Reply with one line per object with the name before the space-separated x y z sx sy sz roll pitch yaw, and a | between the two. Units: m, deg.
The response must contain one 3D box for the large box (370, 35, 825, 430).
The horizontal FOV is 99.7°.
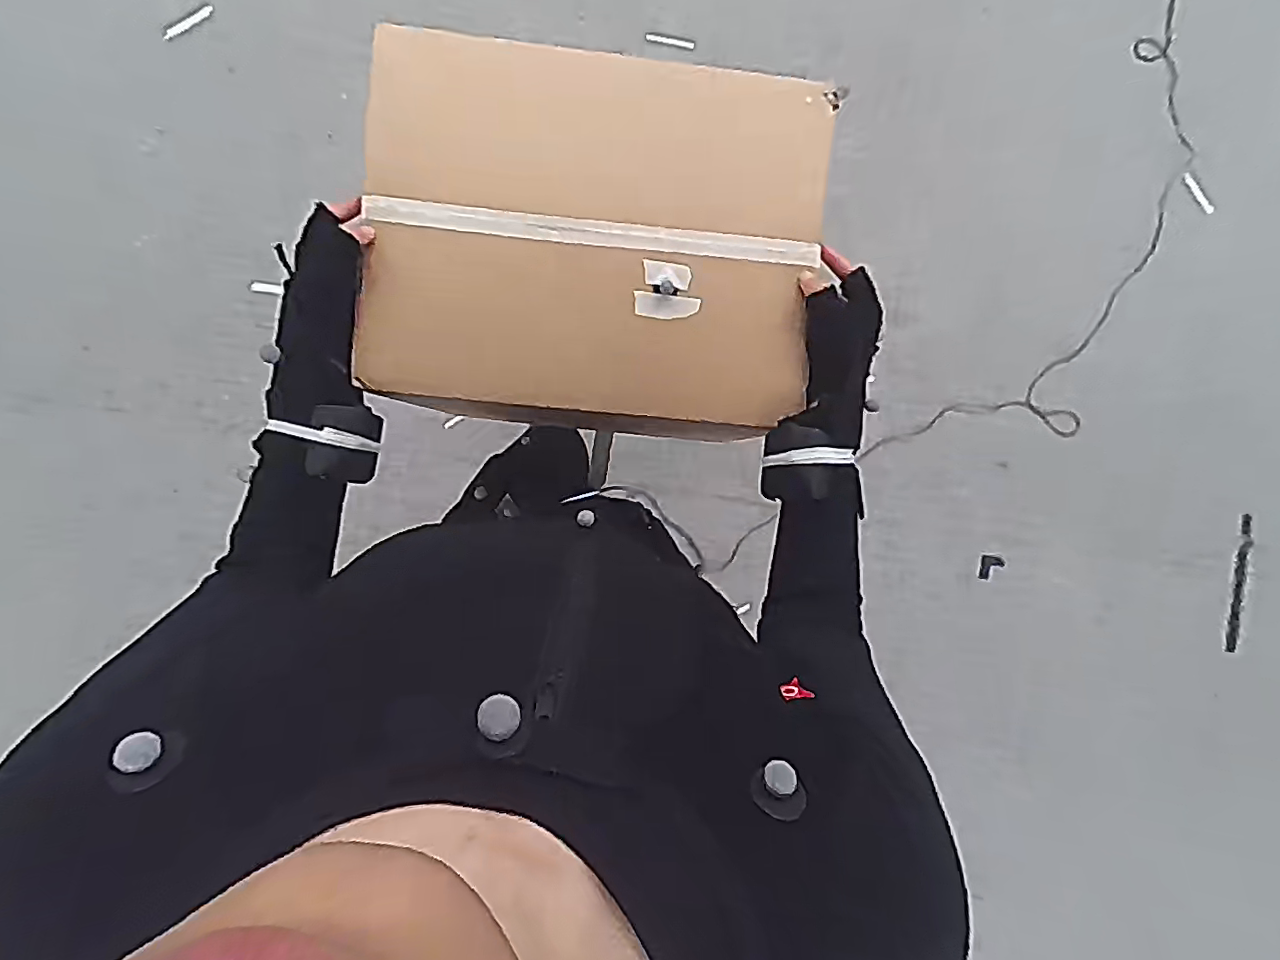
large box | -0.047 -0.233 0.641 0.408 0.320 0.320 5 93 -4
